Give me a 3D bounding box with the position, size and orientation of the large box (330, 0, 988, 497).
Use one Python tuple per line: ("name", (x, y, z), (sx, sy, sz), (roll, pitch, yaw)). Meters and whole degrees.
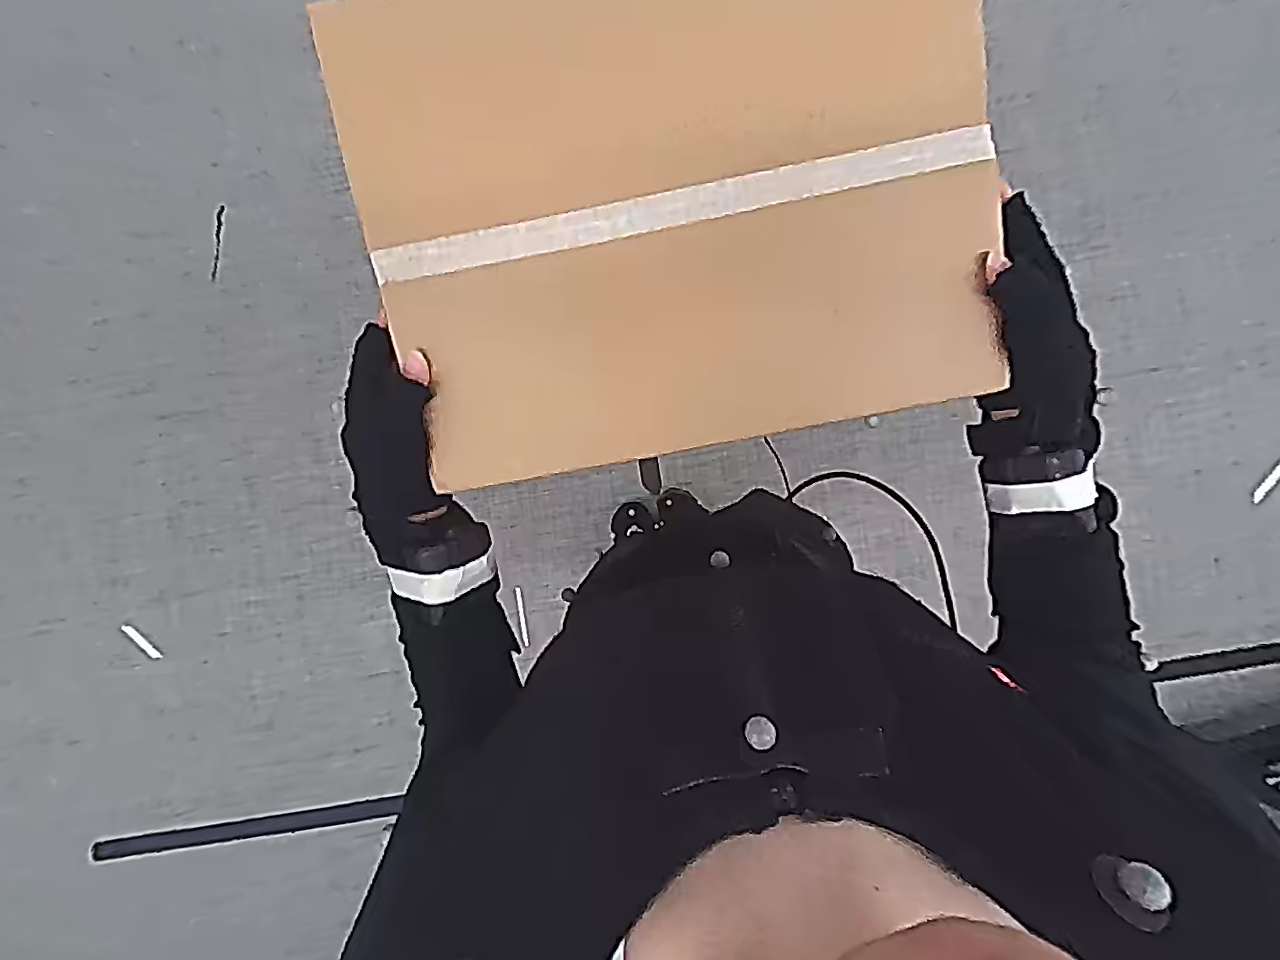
("large box", (0.025, -0.199, 0.507), (0.408, 0.320, 0.320), (-10, 99, 2))
